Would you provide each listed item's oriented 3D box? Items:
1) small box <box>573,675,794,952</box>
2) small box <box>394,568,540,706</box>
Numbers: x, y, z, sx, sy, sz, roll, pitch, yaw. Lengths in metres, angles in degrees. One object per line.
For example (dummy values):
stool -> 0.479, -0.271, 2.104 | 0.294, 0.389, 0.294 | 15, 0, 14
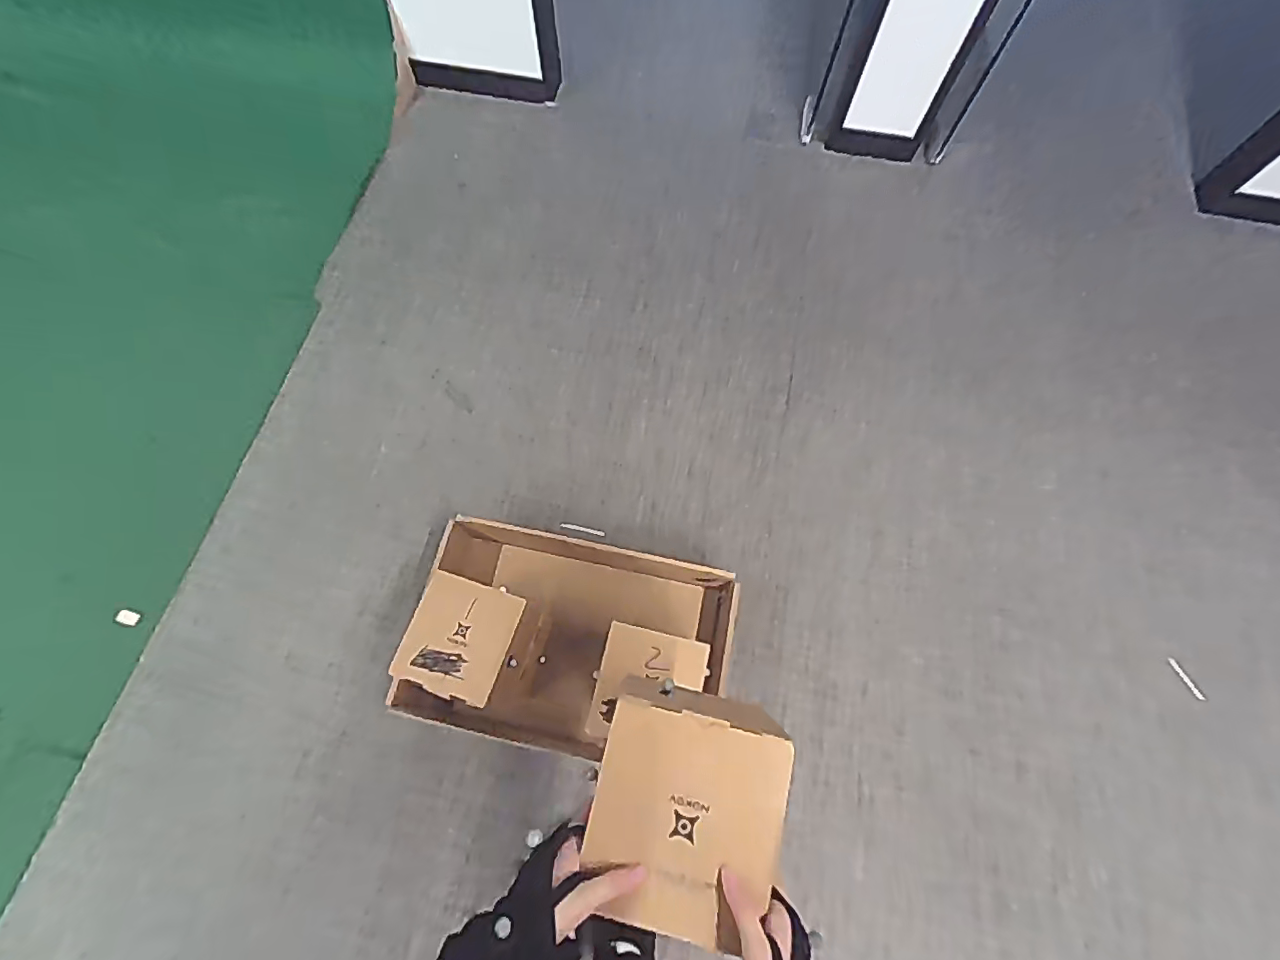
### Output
small box -> 0.042, 0.313, 0.555 | 0.168, 0.176, 0.179 | 14, 78, 5
small box -> -0.284, 0.276, 0.939 | 0.168, 0.176, 0.179 | 18, 69, 5
